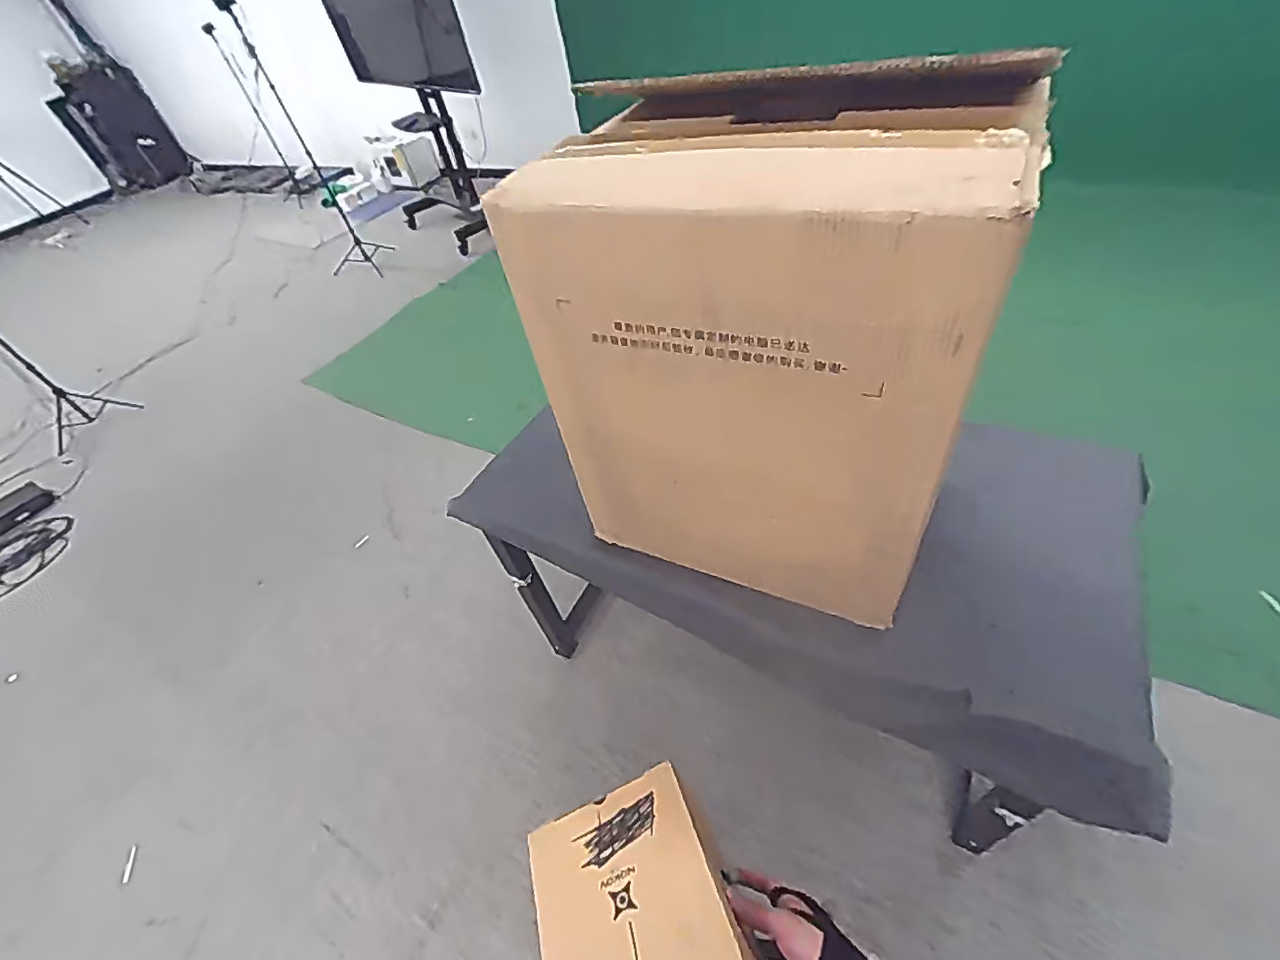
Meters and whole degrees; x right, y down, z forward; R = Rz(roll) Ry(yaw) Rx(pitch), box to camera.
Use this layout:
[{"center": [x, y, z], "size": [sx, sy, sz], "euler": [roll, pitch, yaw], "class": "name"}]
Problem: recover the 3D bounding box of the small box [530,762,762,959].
[{"center": [0.009, 0.432, 0.537], "size": [0.168, 0.176, 0.179], "euler": [-26, 35, -3], "class": "small box"}]
